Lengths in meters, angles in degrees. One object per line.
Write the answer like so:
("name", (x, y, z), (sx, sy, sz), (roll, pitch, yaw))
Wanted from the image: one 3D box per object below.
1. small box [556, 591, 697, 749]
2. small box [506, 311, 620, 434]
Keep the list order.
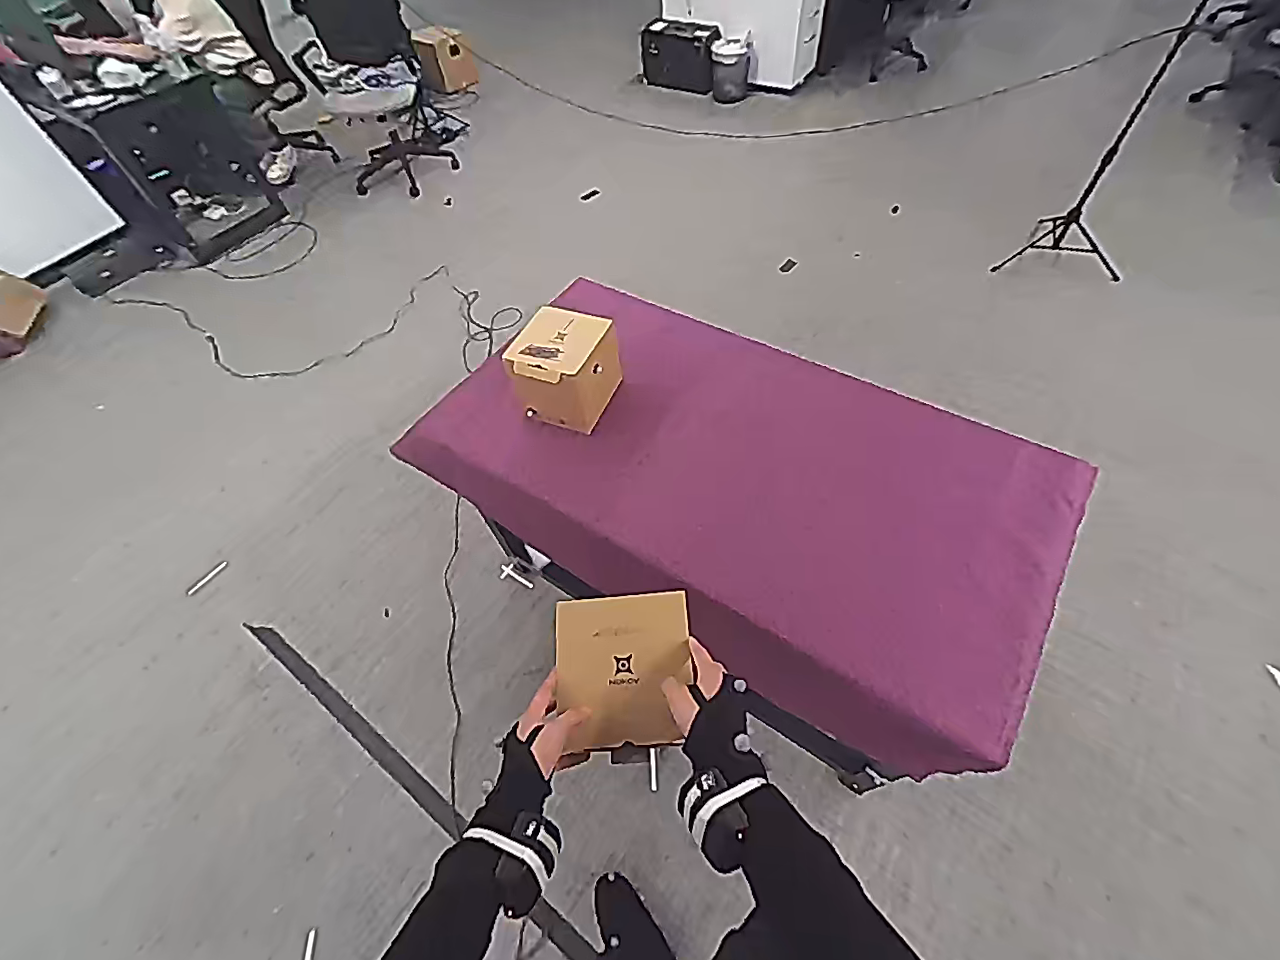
("small box", (-0.011, 0.256, 0.723), (0.168, 0.176, 0.179), (-4, 65, 3))
("small box", (-0.150, -0.223, 1.141), (0.168, 0.176, 0.179), (17, 58, 16))
